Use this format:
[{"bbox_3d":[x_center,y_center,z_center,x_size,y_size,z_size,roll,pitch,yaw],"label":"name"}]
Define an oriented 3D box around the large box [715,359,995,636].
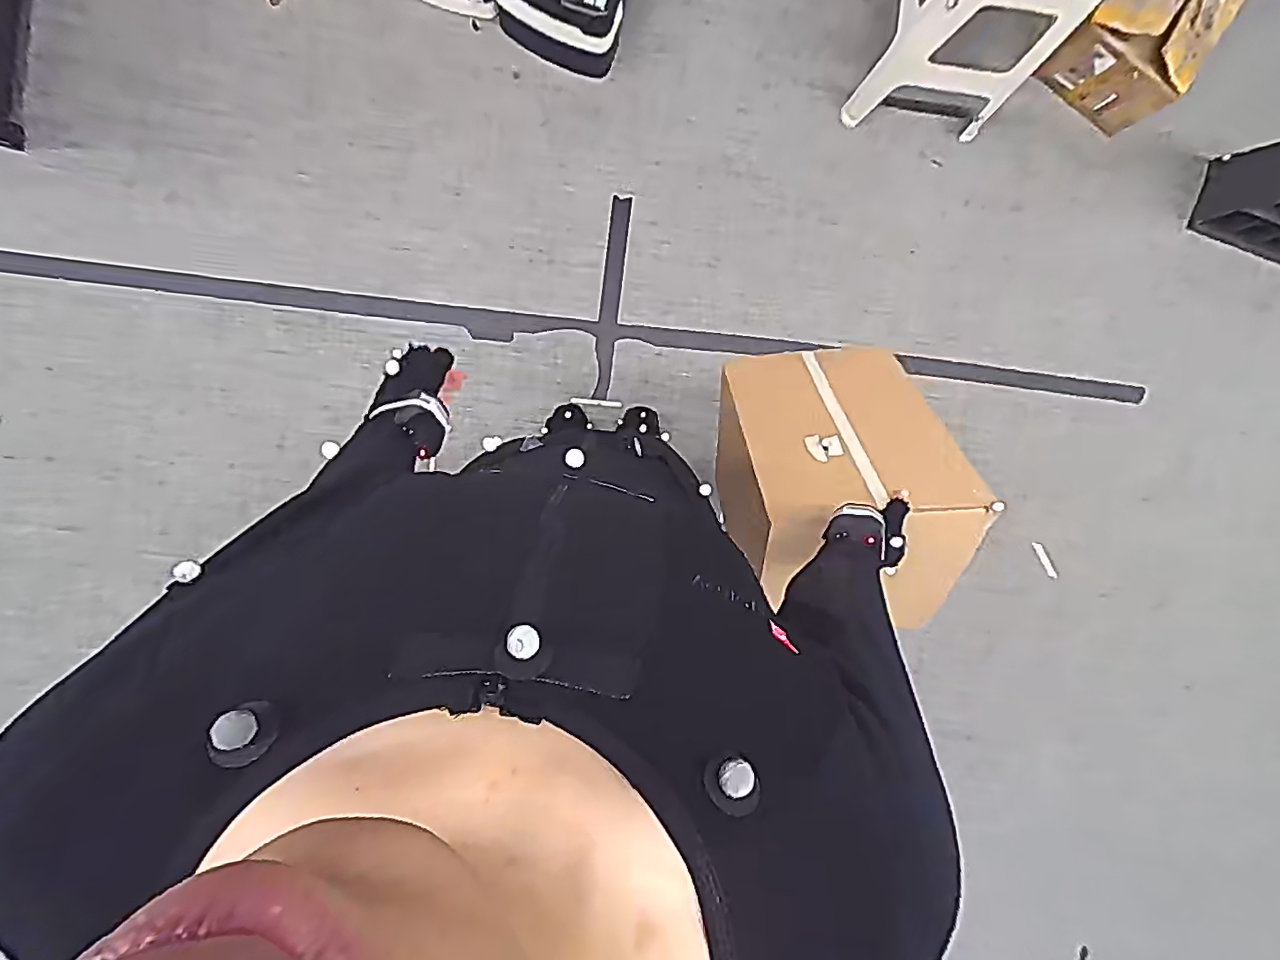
[{"bbox_3d":[0.330,0.024,0.988,0.320,0.408,0.320,-4,135,-1],"label":"large box"}]
